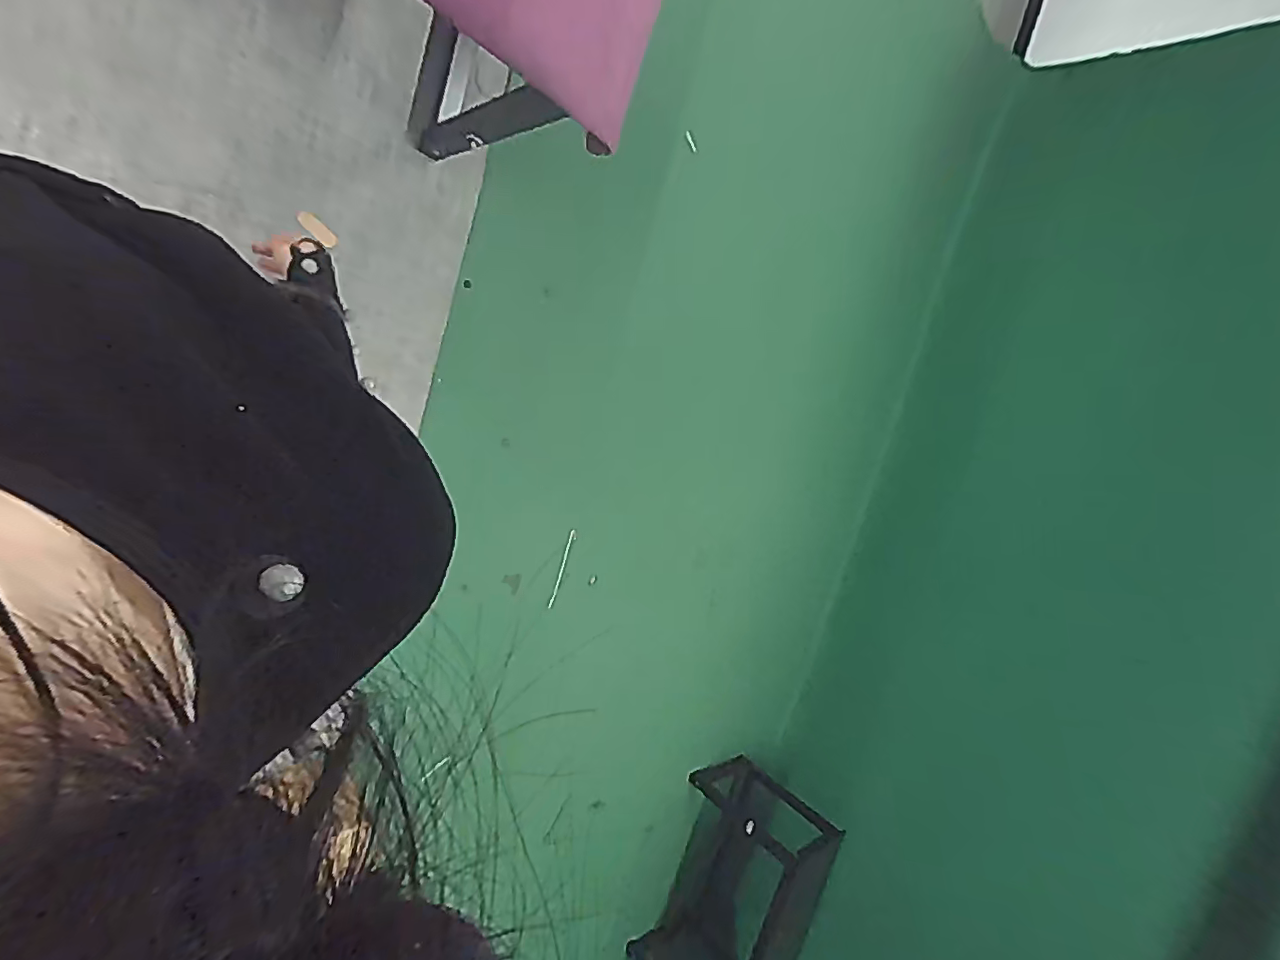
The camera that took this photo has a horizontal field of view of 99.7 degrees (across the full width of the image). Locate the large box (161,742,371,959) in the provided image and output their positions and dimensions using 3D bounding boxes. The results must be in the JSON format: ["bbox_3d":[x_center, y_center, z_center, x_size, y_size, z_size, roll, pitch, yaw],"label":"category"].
[{"bbox_3d":[-0.993,1.000,1.455,0.408,0.320,0.320,-9,114,-43],"label":"large box"}]

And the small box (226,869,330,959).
[{"bbox_3d":[-0.850,1.073,1.269,0.179,0.176,0.168,-4,108,-43],"label":"small box"}]
